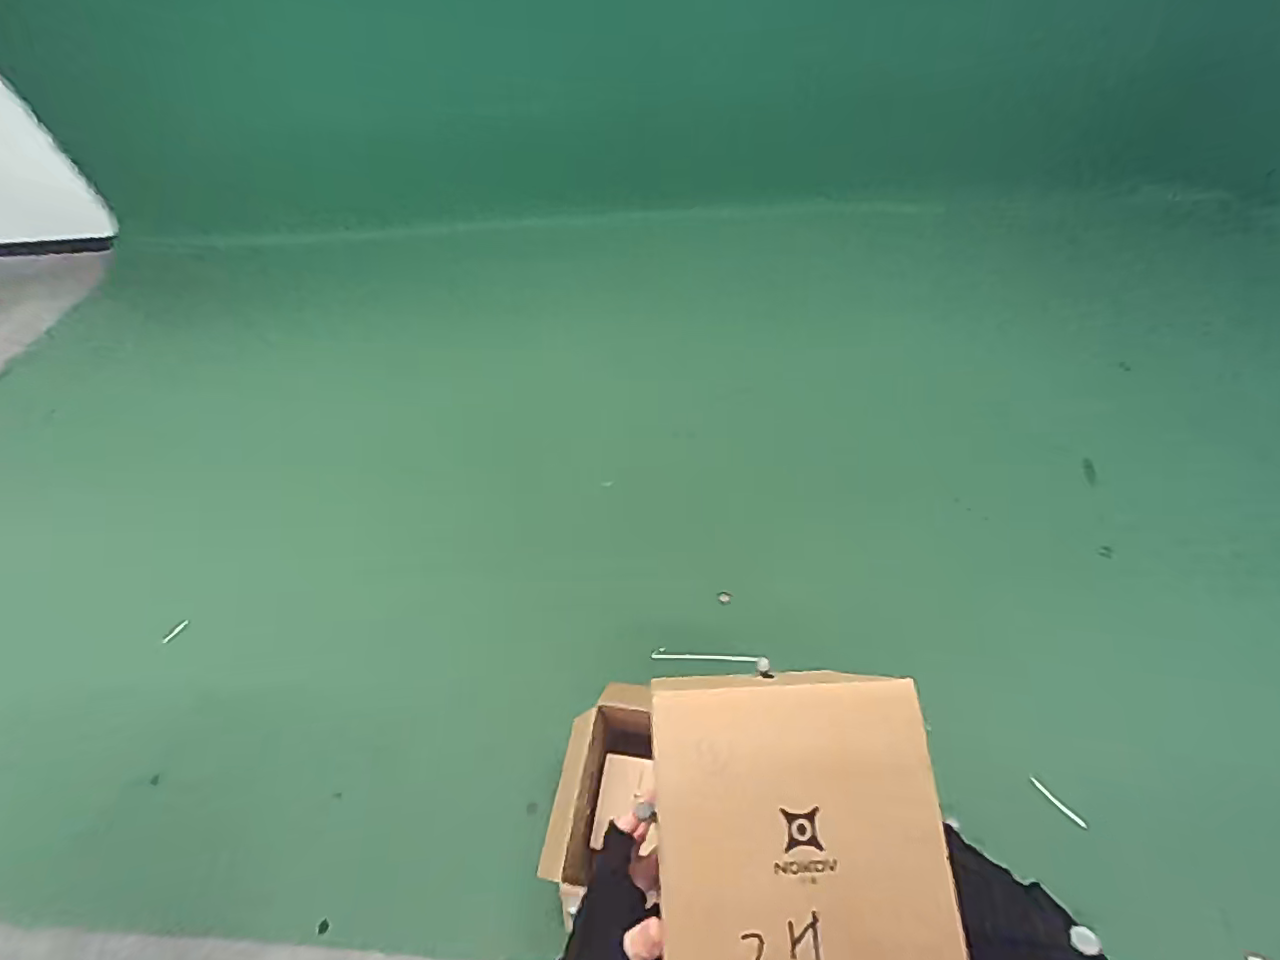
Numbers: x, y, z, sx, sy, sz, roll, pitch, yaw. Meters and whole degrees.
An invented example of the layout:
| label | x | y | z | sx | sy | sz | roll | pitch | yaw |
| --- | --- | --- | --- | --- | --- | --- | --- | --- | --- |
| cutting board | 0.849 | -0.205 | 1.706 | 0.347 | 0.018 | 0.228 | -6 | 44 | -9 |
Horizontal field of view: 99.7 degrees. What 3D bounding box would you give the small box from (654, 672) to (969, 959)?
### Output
| label | x | y | z | sx | sy | sz | roll | pitch | yaw |
| --- | --- | --- | --- | --- | --- | --- | --- | --- | --- |
| small box | 0.095 | 0.234 | 0.387 | 0.168 | 0.176 | 0.179 | -3 | 71 | 1 |
